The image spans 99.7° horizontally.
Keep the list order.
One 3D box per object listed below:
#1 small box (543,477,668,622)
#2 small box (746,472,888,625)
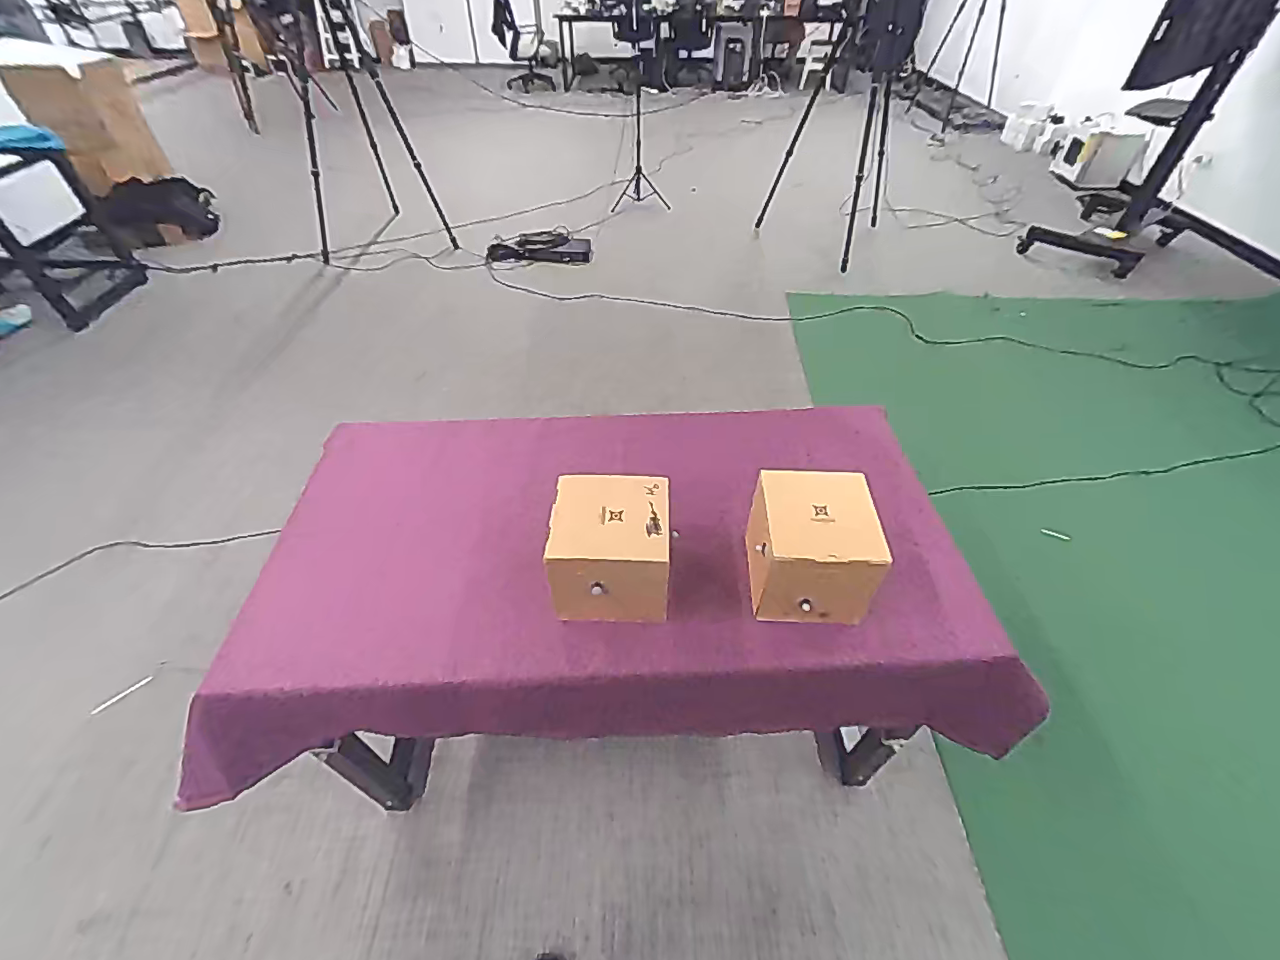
[{"bbox_3d":[-0.044,0.112,0.860,0.179,0.176,0.168,1,45,2],"label":"small box"},{"bbox_3d":[0.268,0.109,0.866,0.168,0.176,0.179,2,46,2],"label":"small box"}]
